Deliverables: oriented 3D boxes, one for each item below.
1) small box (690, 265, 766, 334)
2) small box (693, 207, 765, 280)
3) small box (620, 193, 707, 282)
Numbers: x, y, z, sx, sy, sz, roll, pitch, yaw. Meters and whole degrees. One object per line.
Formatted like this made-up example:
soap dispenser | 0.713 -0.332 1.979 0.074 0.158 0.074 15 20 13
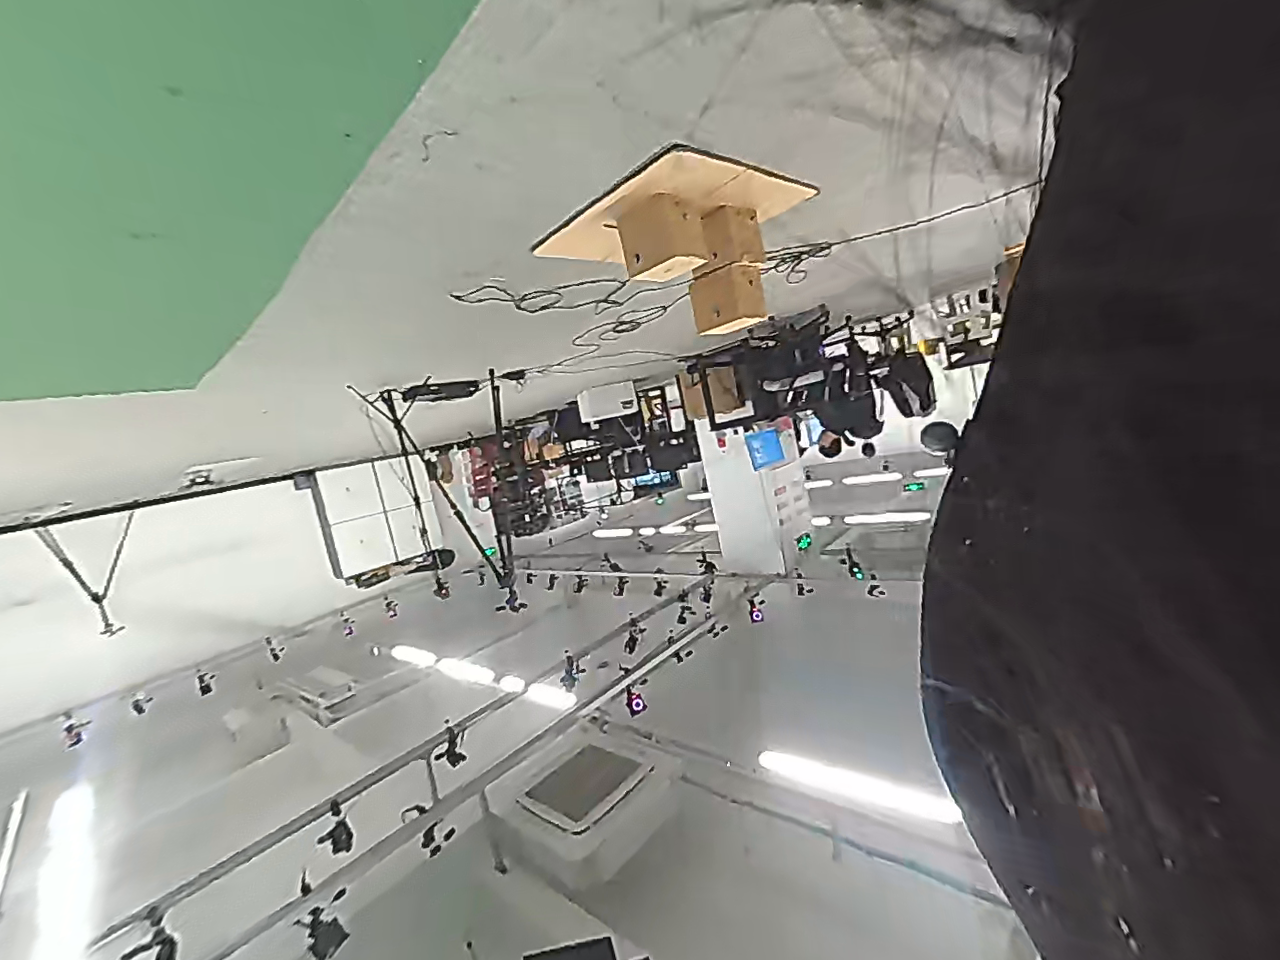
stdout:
small box | 0.279 -0.580 1.746 0.179 0.176 0.168 -7 -173 45
small box | 0.265 -0.742 1.714 0.168 0.176 0.179 -17 -173 -41
small box | 0.062 -0.681 1.533 0.179 0.176 0.168 -9 -173 42
